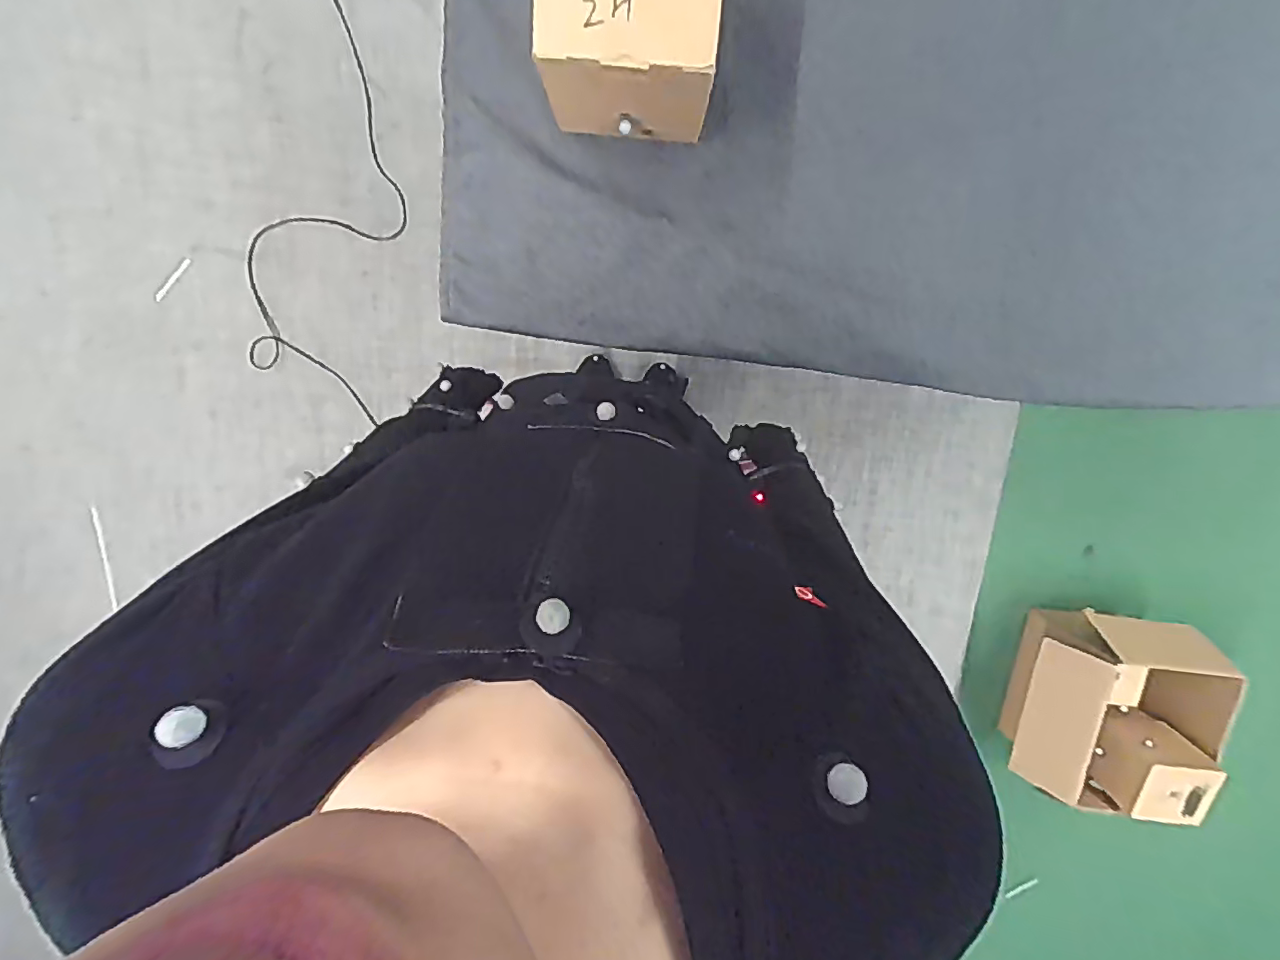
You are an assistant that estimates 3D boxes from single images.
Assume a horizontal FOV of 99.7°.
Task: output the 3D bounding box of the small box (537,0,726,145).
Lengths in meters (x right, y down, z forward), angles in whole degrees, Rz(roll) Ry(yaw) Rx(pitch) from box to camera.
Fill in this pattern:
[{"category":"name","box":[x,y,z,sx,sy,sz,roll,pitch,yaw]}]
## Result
[{"category":"small box","box":[-0.004,-0.472,0.544,0.168,0.176,0.179,4,103,-1]}]
